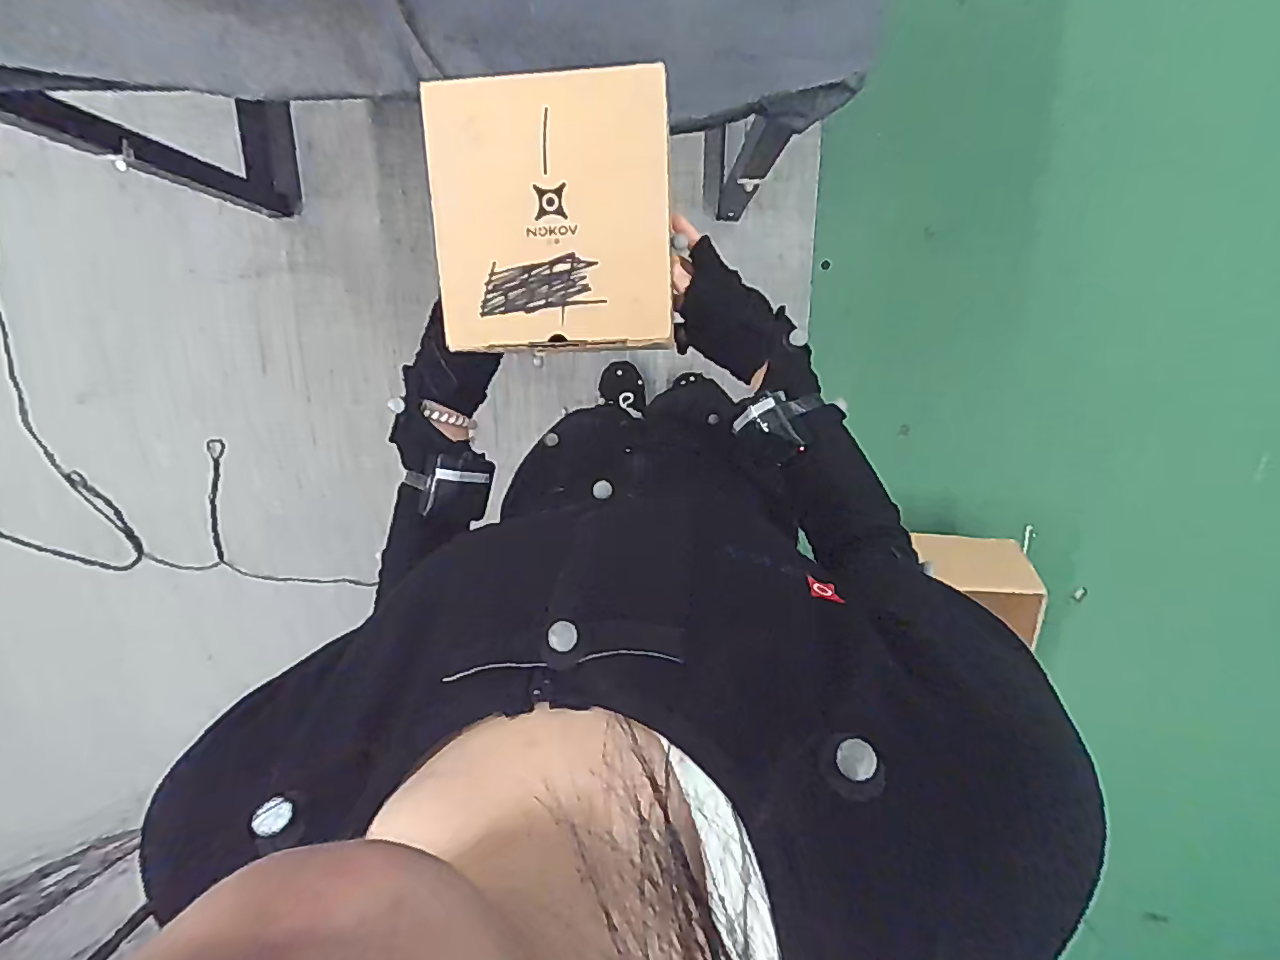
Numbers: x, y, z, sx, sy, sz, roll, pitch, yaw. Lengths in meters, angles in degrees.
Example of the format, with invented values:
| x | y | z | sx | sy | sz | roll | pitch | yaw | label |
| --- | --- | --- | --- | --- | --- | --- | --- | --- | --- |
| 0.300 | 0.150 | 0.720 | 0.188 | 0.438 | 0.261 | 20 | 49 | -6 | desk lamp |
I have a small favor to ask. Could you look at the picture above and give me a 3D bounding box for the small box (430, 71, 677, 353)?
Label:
| x | y | z | sx | sy | sz | roll | pitch | yaw | label |
| --- | --- | --- | --- | --- | --- | --- | --- | --- | --- |
| -0.053 | -0.197 | 0.450 | 0.168 | 0.176 | 0.179 | -1 | 101 | 3 | small box |
